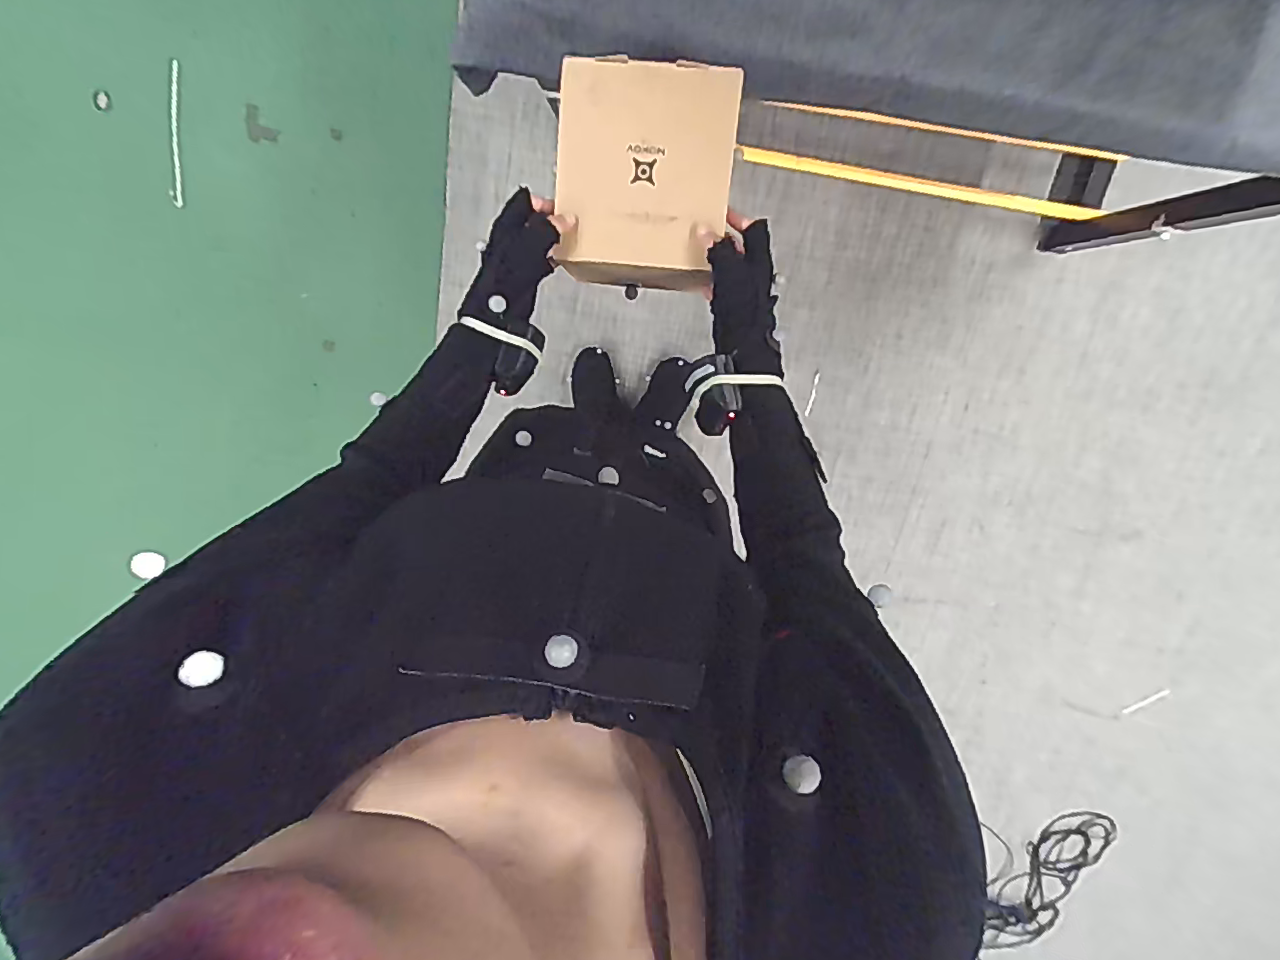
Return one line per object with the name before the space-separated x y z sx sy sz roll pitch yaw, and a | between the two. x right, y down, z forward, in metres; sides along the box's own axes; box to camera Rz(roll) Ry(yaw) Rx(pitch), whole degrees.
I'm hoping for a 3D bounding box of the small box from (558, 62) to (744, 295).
small box | 0.012 -0.310 0.591 0.168 0.176 0.179 5 103 3
